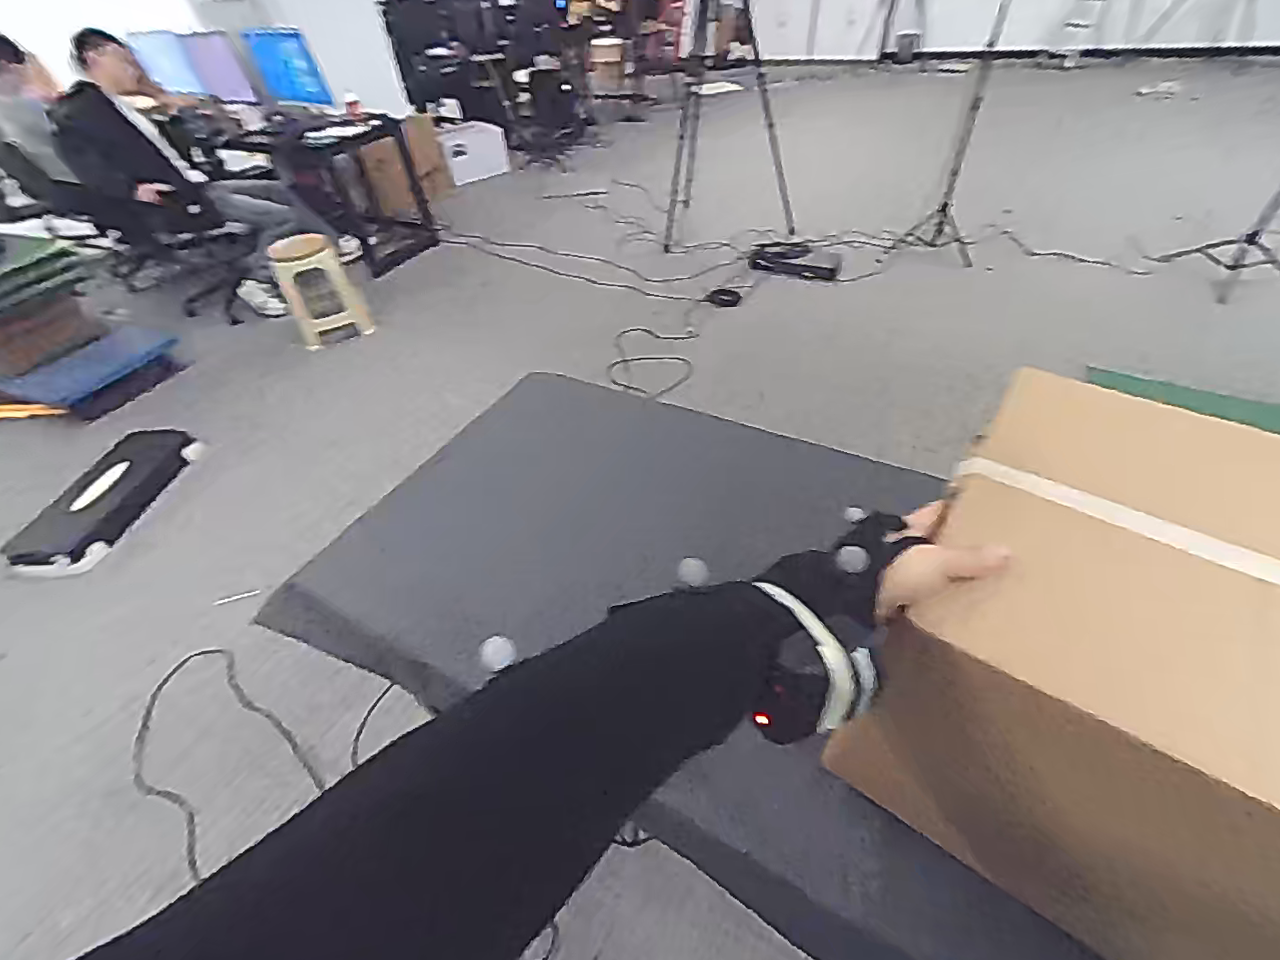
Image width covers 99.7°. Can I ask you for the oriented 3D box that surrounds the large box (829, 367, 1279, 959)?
[{"bbox_3d":[0.426,0.167,0.438,0.408,0.320,0.320,27,56,26],"label":"large box"}]
